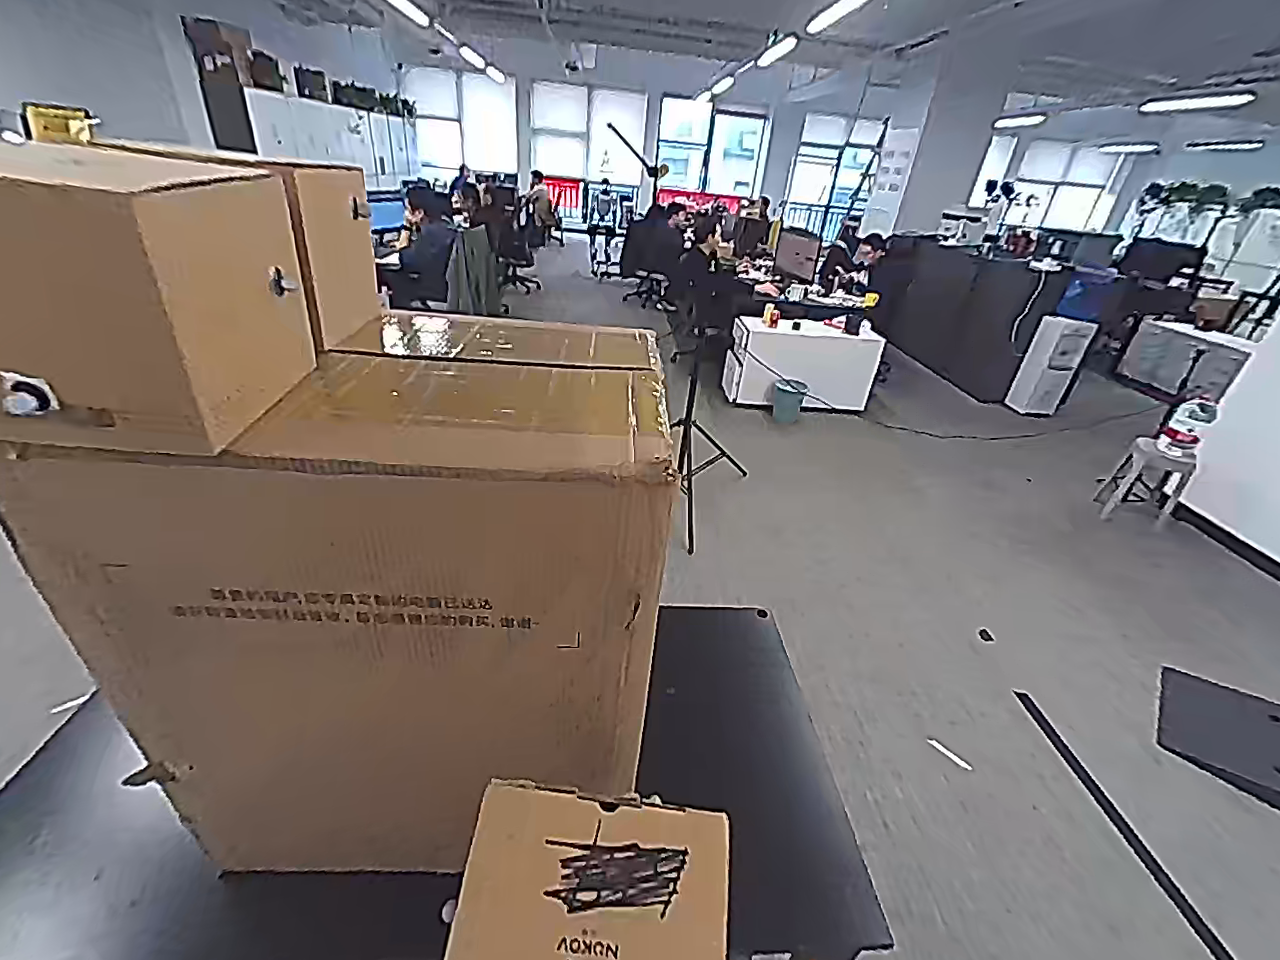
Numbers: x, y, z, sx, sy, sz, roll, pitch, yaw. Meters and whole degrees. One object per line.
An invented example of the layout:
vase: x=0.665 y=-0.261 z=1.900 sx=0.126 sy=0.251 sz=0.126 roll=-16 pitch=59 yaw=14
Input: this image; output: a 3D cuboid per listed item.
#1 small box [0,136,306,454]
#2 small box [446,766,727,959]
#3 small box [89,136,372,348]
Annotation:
small box: x=-0.370 y=-0.137 z=0.392 sx=0.168 sy=0.176 sz=0.179 roll=3 pitch=33 yaw=-9
small box: x=-0.041 y=0.320 z=0.384 sx=0.168 sy=0.176 sz=0.179 roll=9 pitch=56 yaw=-2
small box: x=-0.400 y=-0.249 z=0.573 sx=0.168 sy=0.176 sz=0.179 roll=3 pitch=29 yaw=-7
